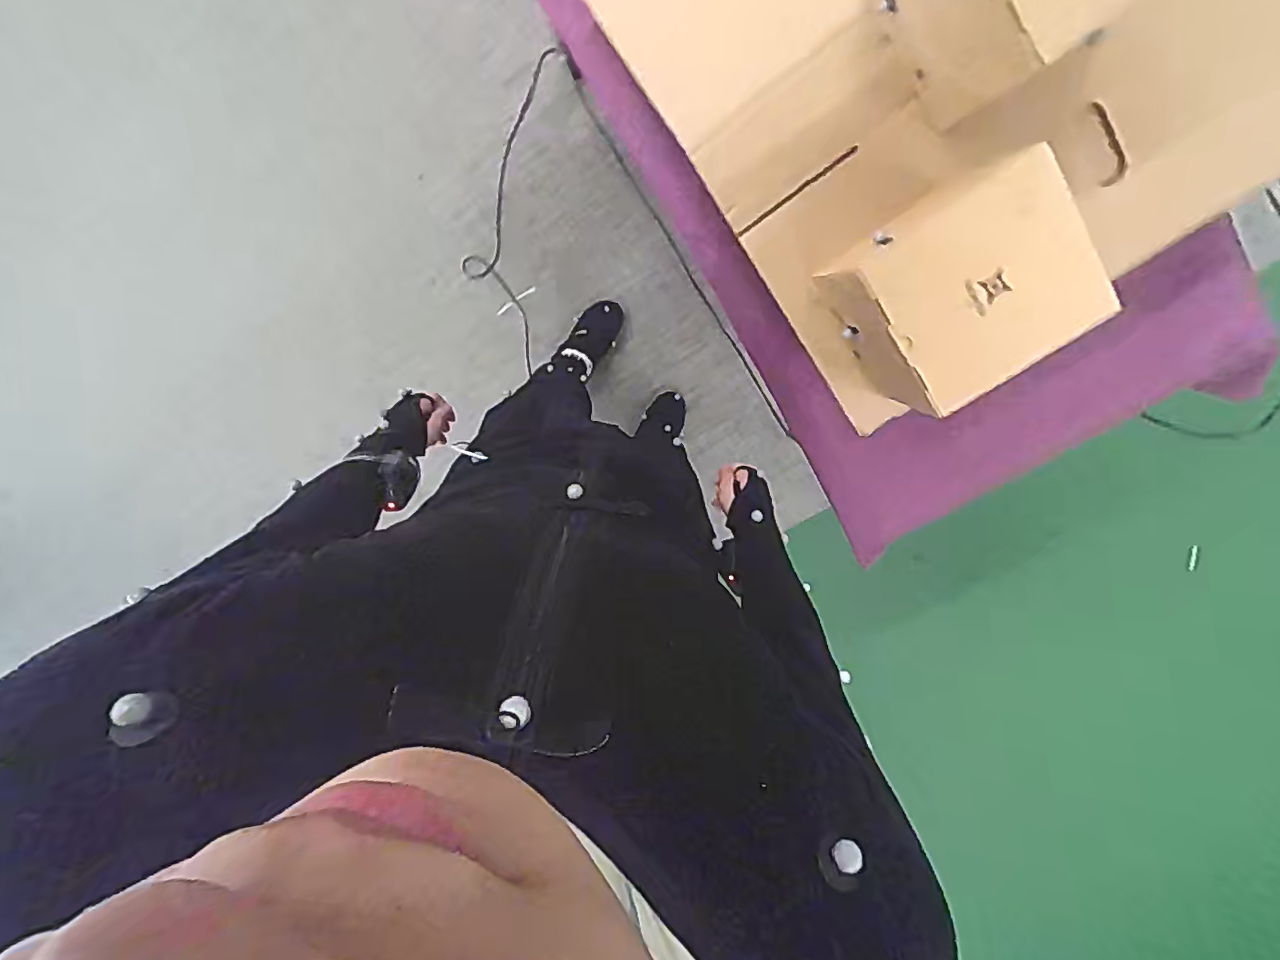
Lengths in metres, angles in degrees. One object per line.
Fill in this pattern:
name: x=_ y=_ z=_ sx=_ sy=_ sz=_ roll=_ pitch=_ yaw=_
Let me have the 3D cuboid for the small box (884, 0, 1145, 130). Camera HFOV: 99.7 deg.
small box: x=0.343 y=-0.454 z=0.472 sx=0.179 sy=0.176 sz=0.168 roll=-34 pitch=104 yaw=11

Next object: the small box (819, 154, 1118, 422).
small box: x=0.316 y=-0.189 z=0.558 sx=0.179 sy=0.176 sz=0.168 roll=-34 pitch=103 yaw=12
